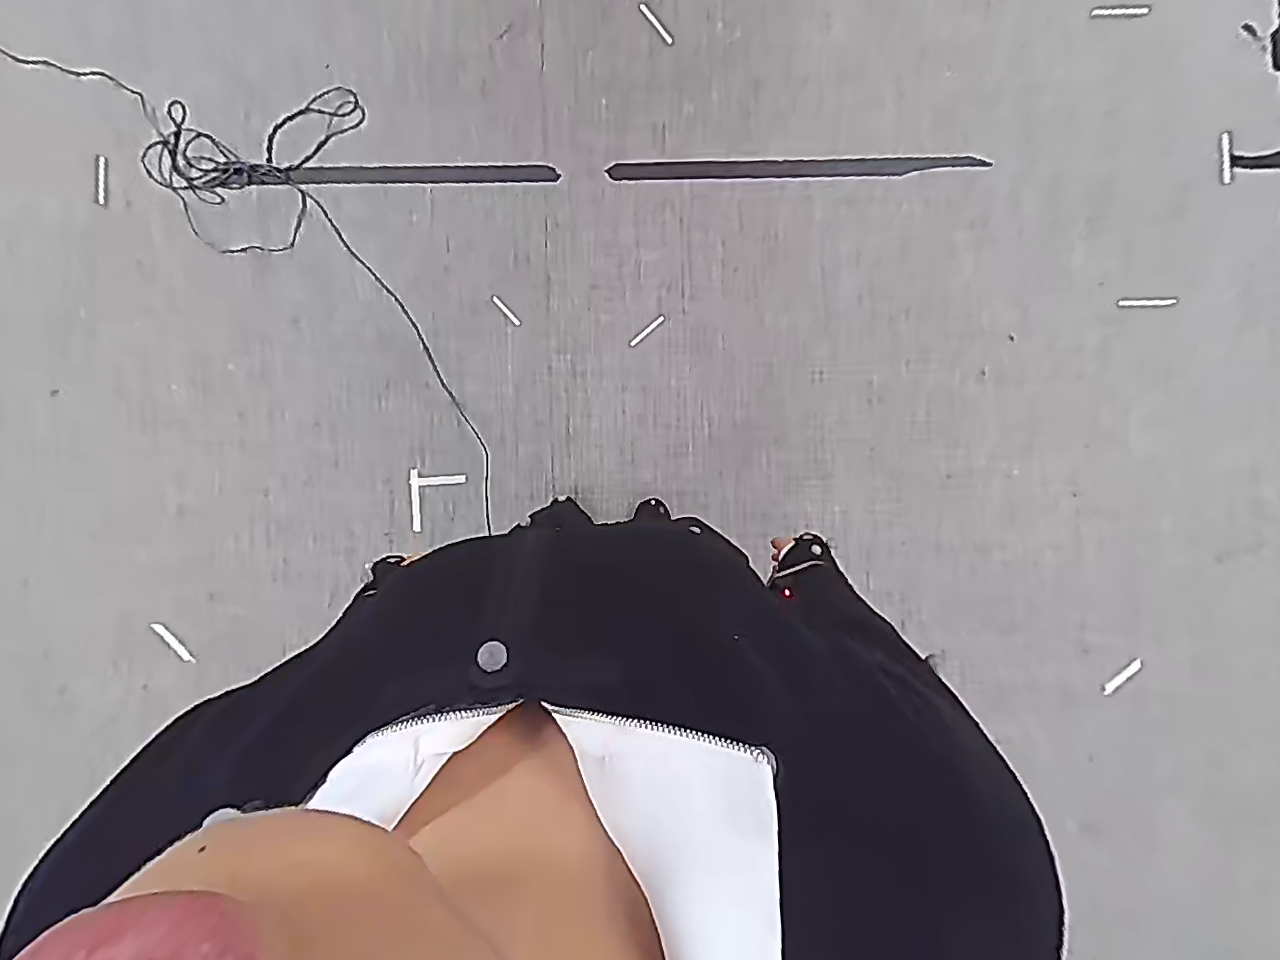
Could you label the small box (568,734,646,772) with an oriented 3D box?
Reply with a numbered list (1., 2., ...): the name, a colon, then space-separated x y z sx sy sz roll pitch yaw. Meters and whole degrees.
1. small box: -0.063 0.674 1.208 0.168 0.176 0.179 -3 89 1
